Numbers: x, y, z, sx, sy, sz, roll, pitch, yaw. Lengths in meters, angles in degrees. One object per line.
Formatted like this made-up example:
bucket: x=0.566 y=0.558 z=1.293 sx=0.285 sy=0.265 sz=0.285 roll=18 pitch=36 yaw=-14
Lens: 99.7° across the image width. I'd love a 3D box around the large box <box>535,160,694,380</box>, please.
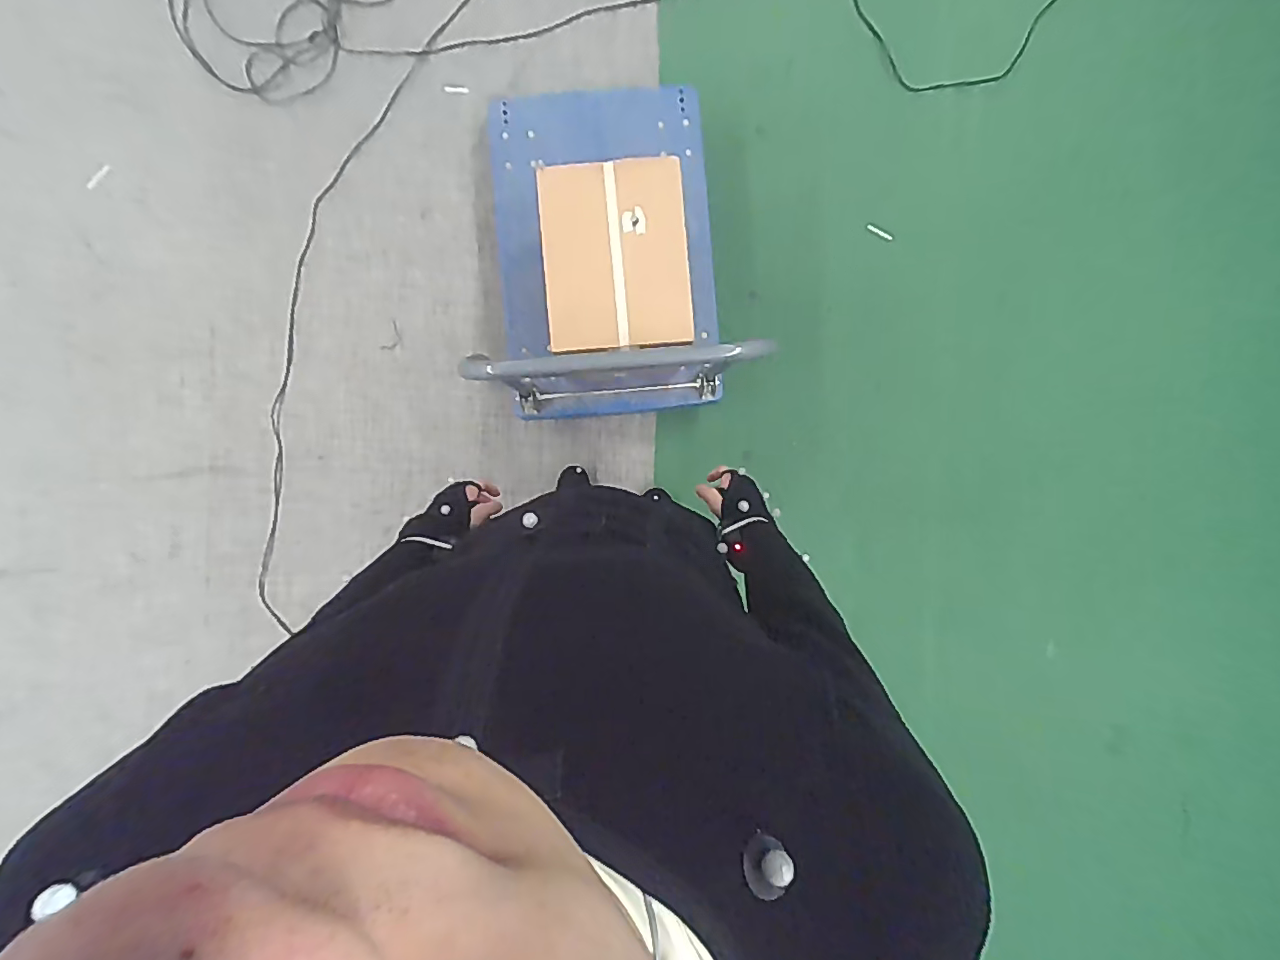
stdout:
large box: x=-0.058 y=-0.481 z=1.315 sx=0.320 sy=0.320 sz=0.408 roll=-5 pitch=89 yaw=-2
